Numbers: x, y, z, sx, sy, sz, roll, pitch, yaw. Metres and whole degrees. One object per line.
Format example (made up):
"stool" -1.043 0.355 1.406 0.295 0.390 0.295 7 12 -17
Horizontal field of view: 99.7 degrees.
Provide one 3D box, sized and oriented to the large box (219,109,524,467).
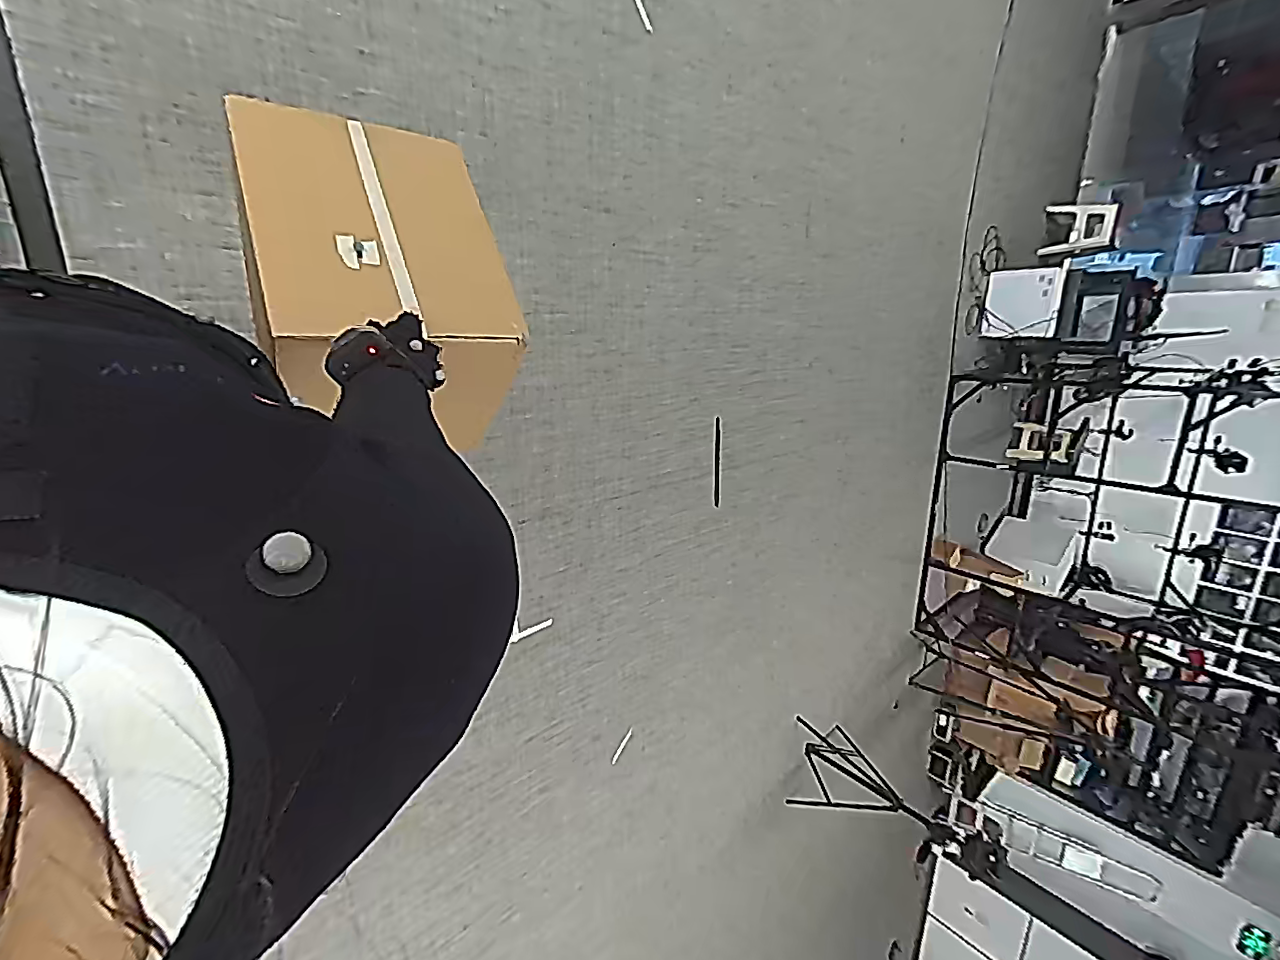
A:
"large box" -0.437 -0.279 0.868 0.320 0.320 0.408 -11 70 -35
